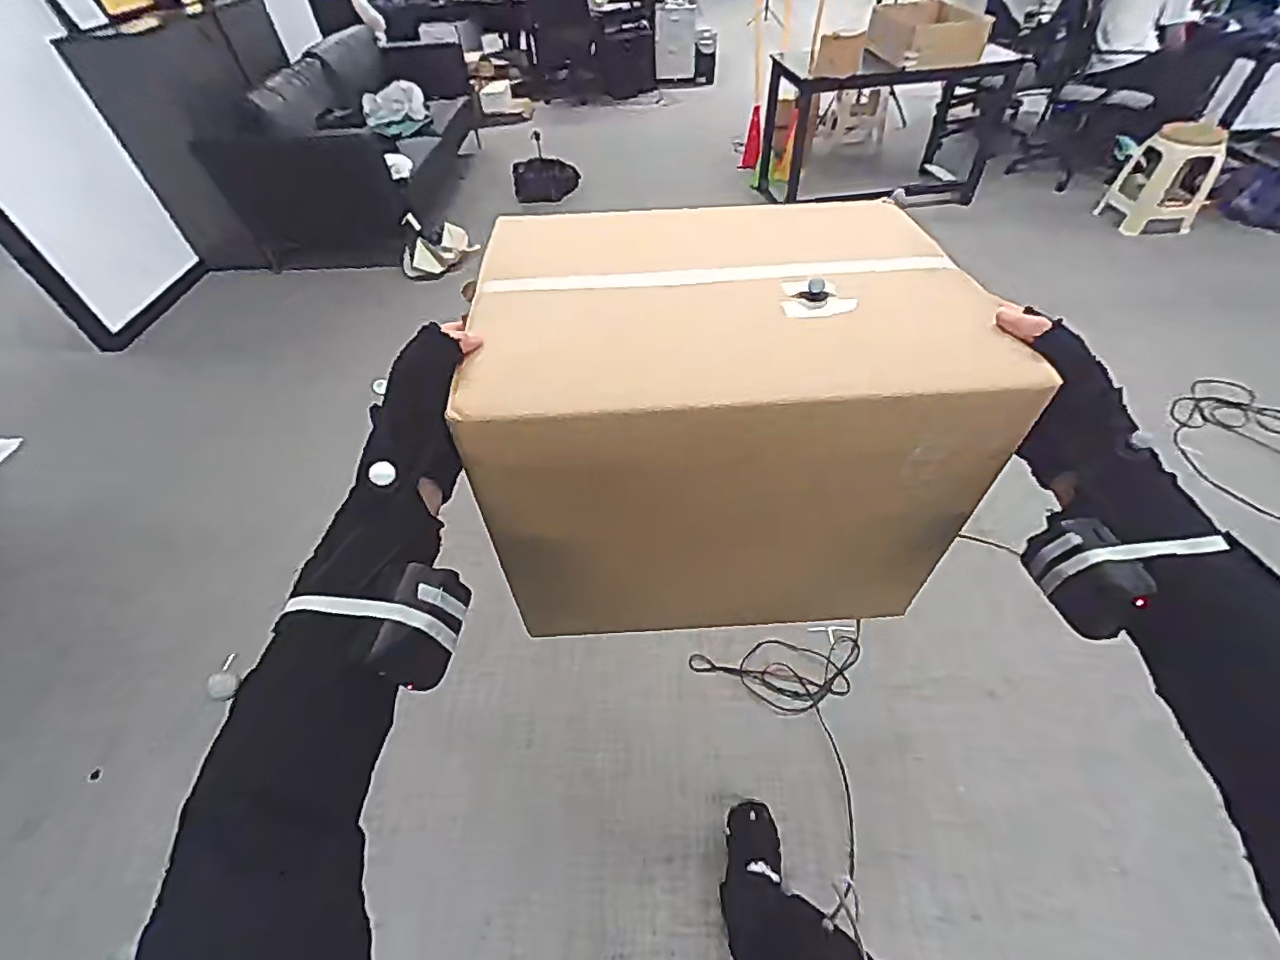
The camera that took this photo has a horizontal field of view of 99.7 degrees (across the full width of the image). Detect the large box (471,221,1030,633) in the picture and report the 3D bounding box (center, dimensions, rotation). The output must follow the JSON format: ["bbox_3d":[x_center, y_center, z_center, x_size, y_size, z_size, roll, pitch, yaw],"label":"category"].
[{"bbox_3d":[0.070,-0.056,0.581,0.408,0.320,0.320,-3,48,-2],"label":"large box"}]
